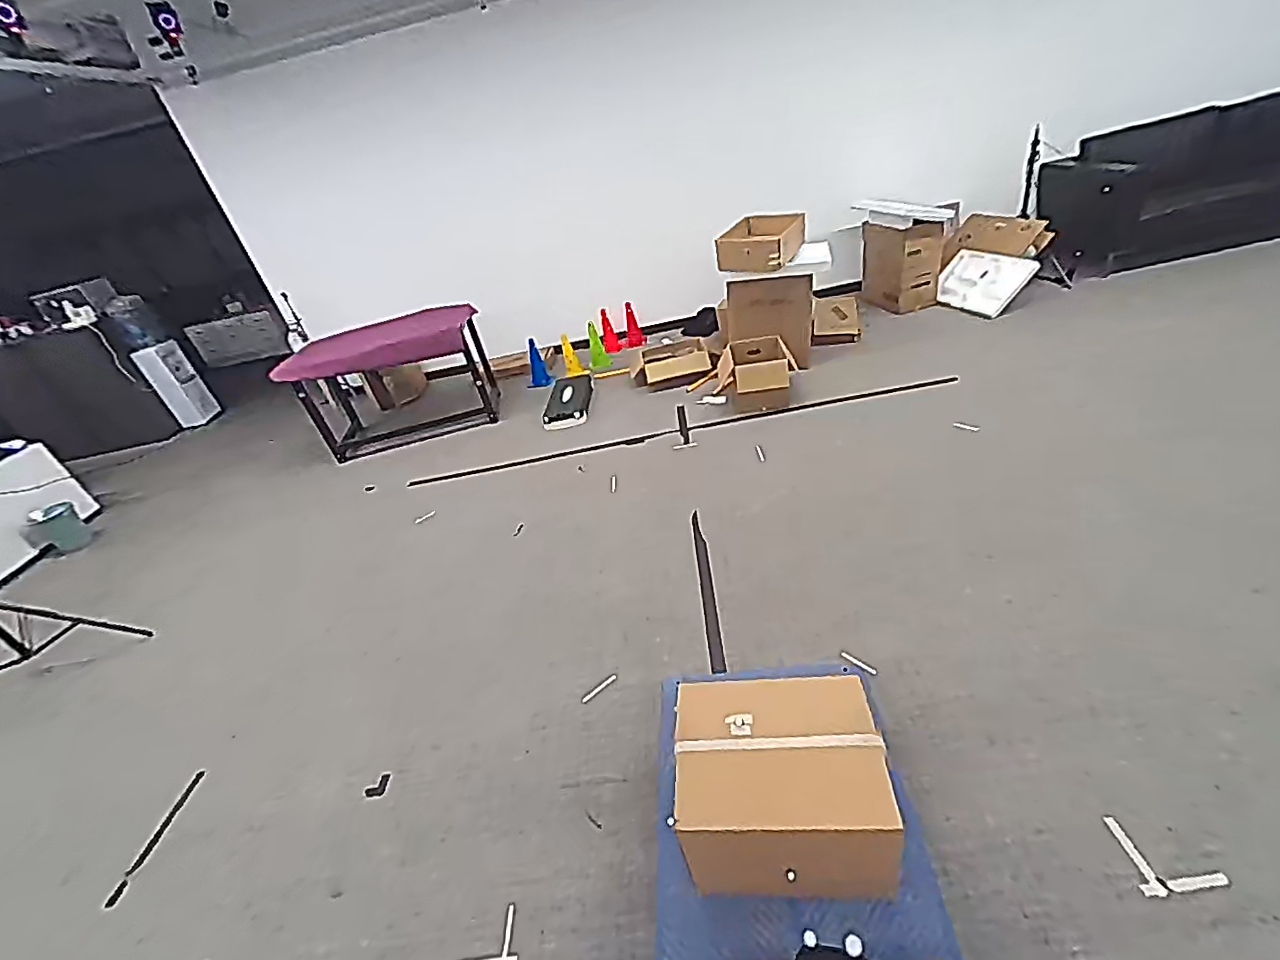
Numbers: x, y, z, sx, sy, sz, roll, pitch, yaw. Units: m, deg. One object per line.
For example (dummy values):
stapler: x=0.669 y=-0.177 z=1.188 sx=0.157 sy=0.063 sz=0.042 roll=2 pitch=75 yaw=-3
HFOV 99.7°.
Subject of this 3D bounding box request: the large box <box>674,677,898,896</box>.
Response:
large box: x=0.303 y=0.669 z=1.179 sx=0.408 sy=0.320 sz=0.320 roll=-8 pitch=32 yaw=11
